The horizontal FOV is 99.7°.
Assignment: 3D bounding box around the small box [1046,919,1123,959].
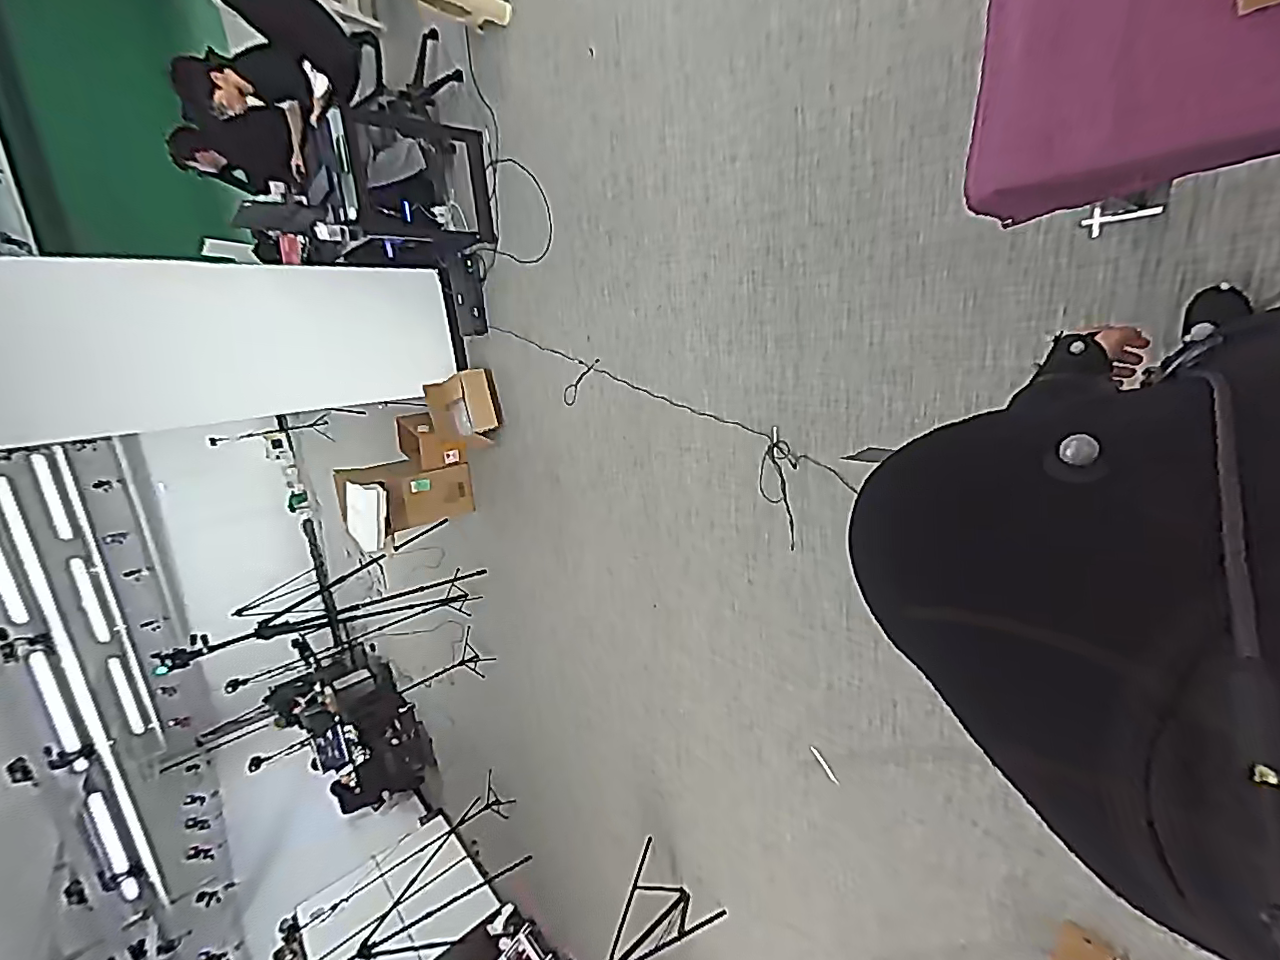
[{"bbox_3d":[1.271,1.431,1.552,0.168,0.176,0.179,17,117,46],"label":"small box"}]
